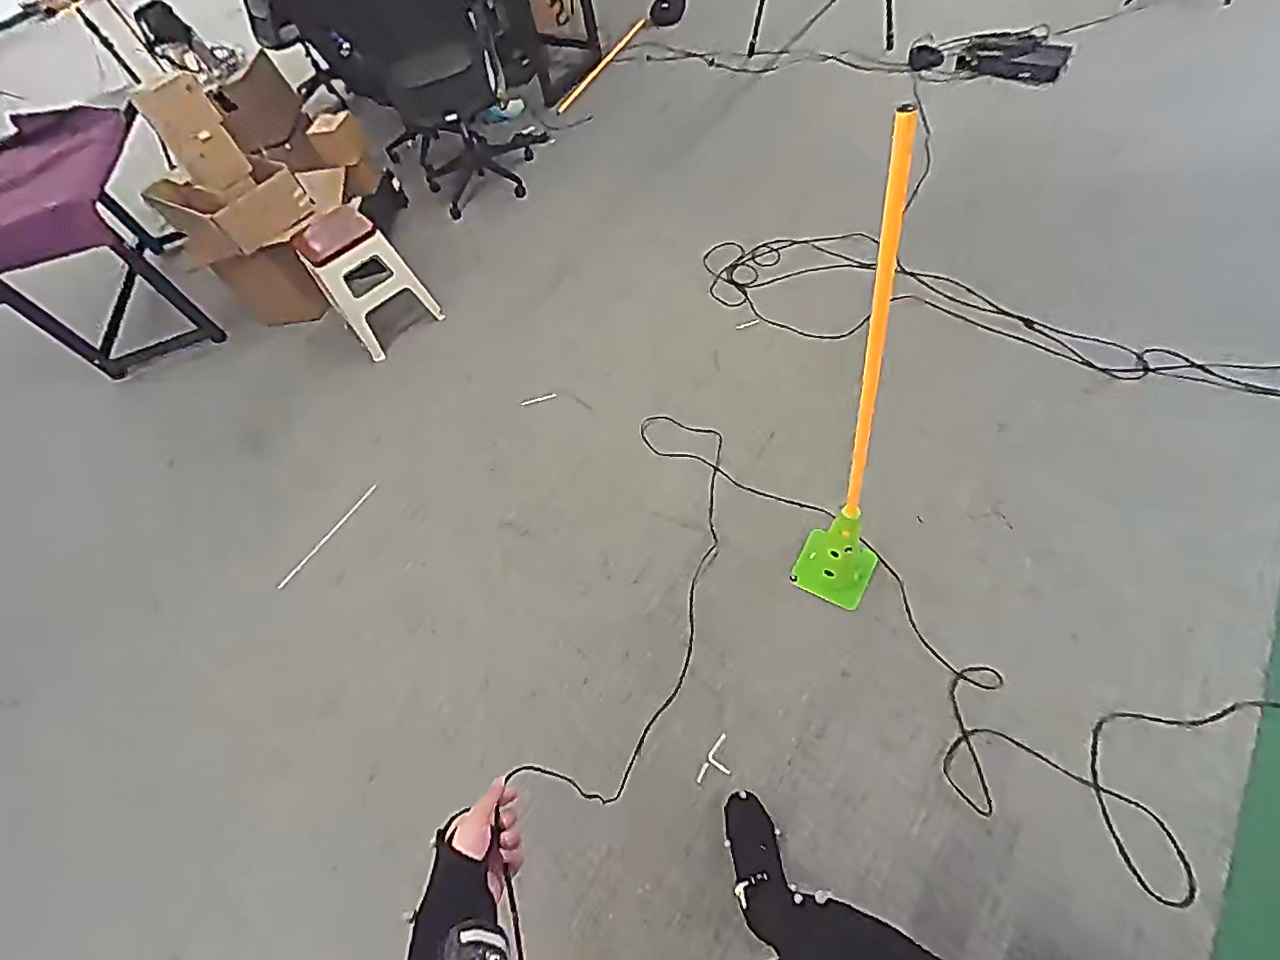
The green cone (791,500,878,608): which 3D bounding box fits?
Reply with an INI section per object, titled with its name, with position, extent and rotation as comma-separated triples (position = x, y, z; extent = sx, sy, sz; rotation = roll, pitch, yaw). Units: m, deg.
[green cone]
position = 0.538, 0.163, 1.426
extent = 0.200, 0.368, 0.202
rotation = 24, 65, 23
